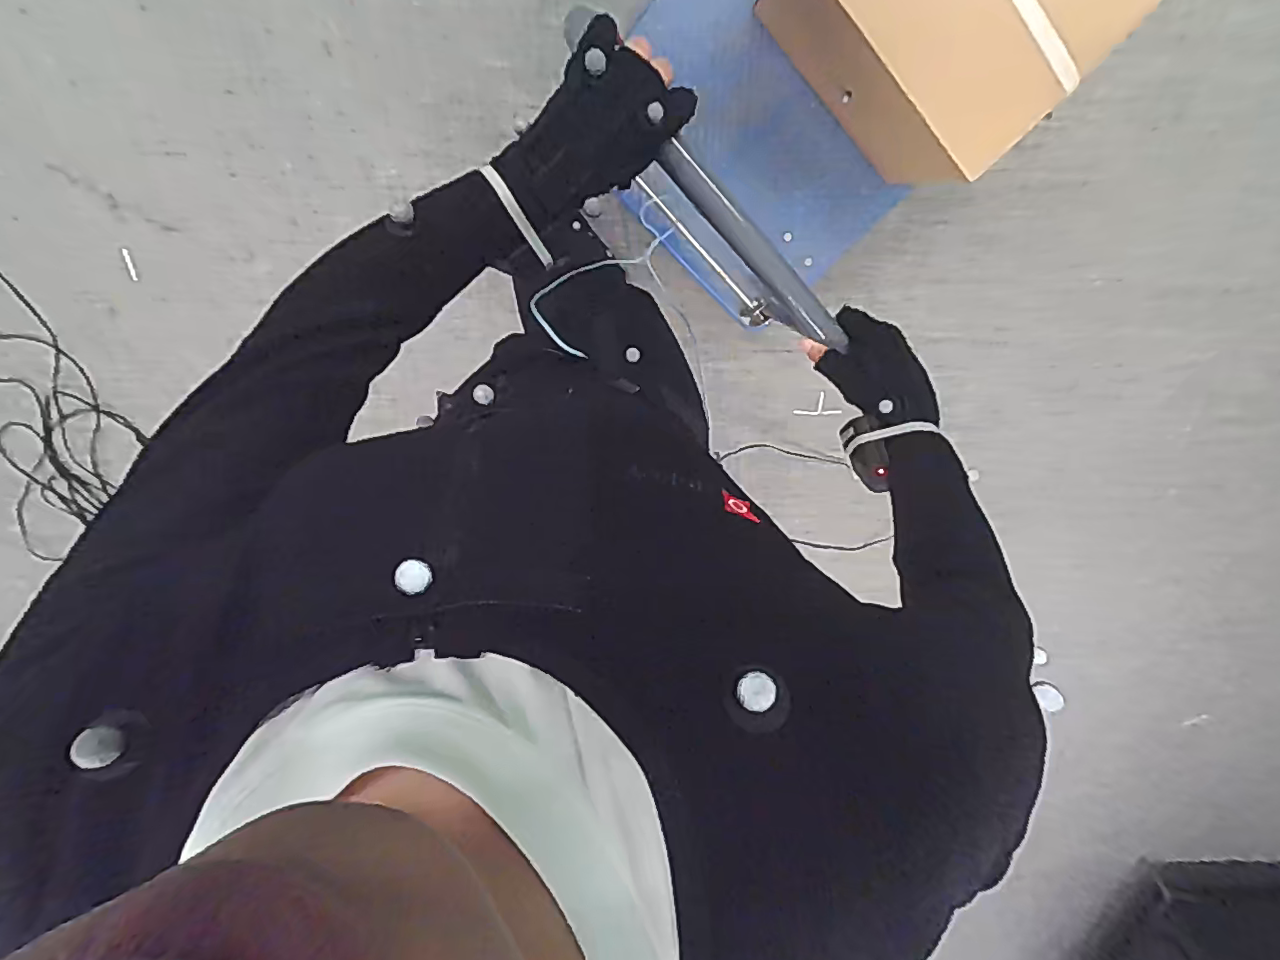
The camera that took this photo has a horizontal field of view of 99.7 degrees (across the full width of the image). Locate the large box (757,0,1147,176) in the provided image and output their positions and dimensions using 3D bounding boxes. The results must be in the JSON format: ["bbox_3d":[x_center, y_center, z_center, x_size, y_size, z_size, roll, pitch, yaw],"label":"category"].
[{"bbox_3d":[0.447,-0.739,0.826,0.408,0.320,0.320,38,111,-18],"label":"large box"}]
